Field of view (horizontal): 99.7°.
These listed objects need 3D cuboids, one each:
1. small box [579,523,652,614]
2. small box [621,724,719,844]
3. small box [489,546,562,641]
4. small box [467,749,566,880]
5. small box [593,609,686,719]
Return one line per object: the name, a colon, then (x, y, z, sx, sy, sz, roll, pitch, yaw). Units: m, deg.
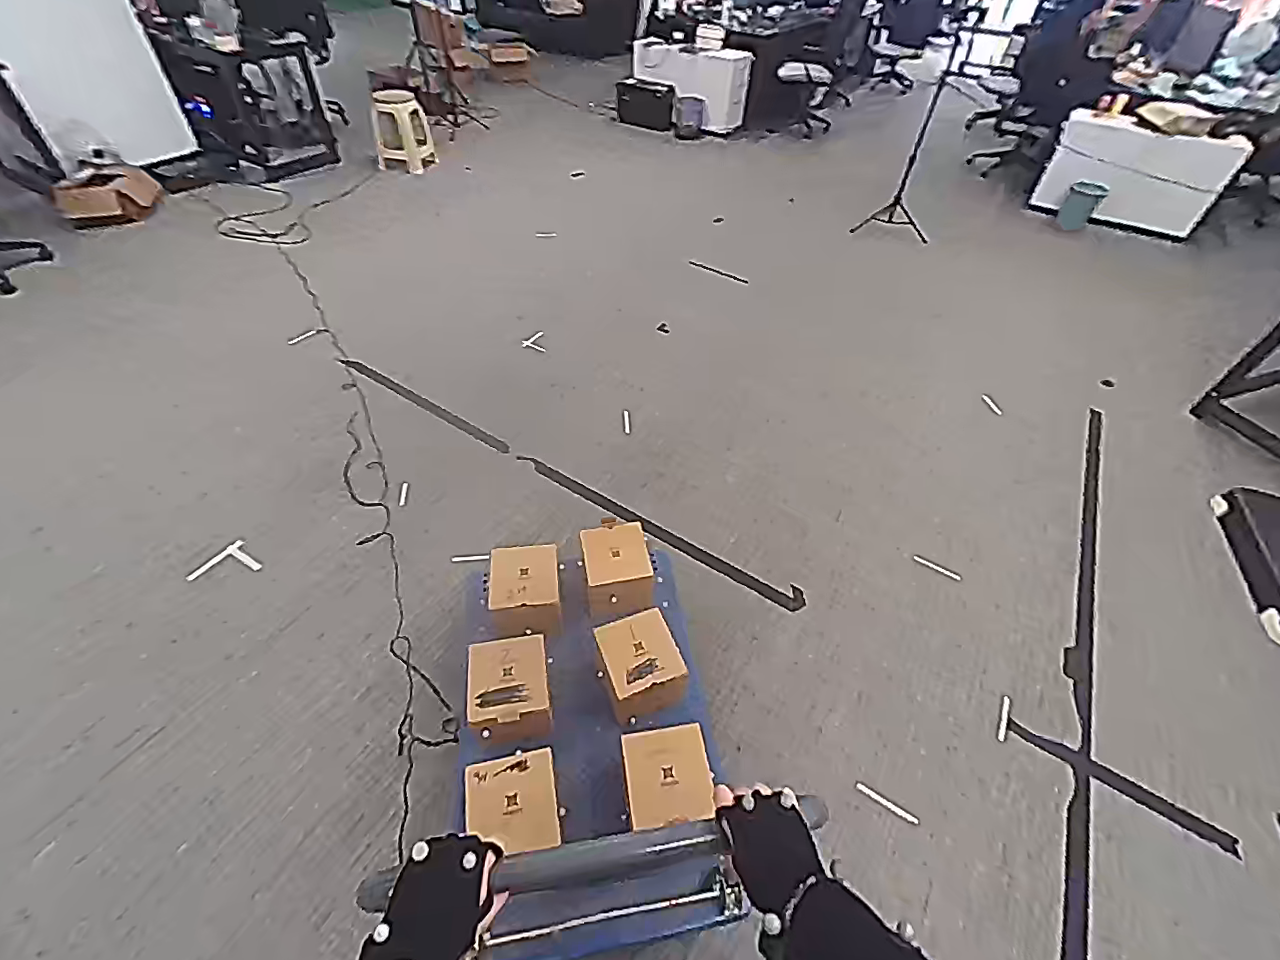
small box: (-0.067, 0.244, 1.454, 0.168, 0.176, 0.179, -8, 48, -10)
small box: (0.053, 0.626, 1.108, 0.168, 0.176, 0.179, -4, 47, -9)
small box: (-0.289, 0.292, 1.394, 0.168, 0.176, 0.179, -4, 48, -7)
small box: (-0.239, 0.659, 1.059, 0.168, 0.176, 0.179, -8, 49, -12)
small box: (-0.004, 0.440, 1.276, 0.168, 0.176, 0.179, -15, 49, -16)
